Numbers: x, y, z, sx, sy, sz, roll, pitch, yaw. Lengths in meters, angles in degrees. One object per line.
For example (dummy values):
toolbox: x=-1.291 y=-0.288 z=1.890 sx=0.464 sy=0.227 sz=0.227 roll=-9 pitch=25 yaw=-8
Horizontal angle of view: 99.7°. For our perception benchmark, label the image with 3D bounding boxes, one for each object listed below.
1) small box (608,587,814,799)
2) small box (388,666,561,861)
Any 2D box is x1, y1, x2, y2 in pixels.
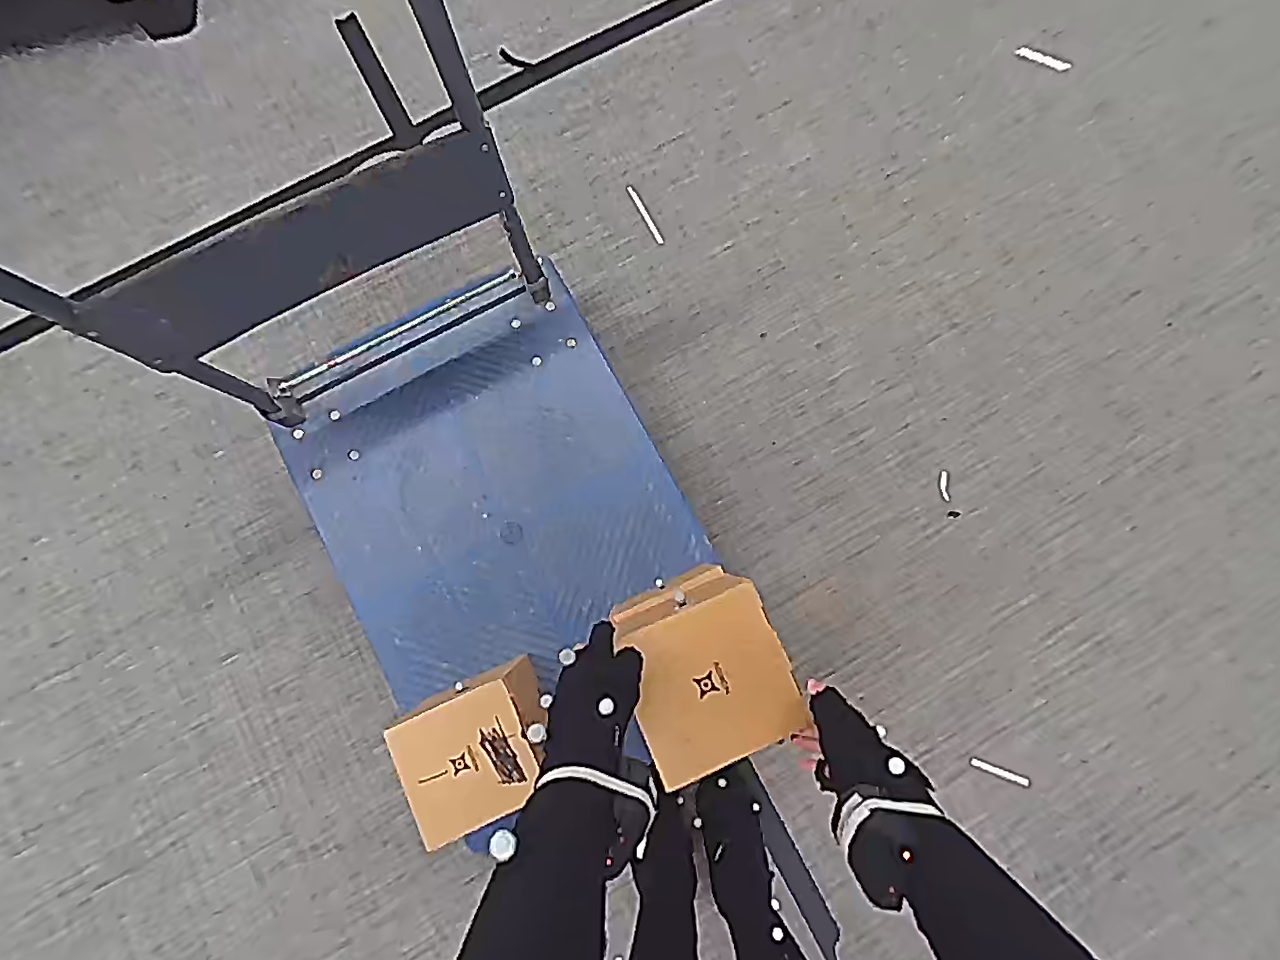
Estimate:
small box: x=0.075 y=0.239 z=0.654 sx=0.179 sy=0.176 sz=0.168 roll=-23 pitch=83 yaw=-5
small box: x=-0.225 y=0.395 z=0.791 sx=0.179 sy=0.176 sz=0.168 roll=-24 pitch=83 yaw=-3
